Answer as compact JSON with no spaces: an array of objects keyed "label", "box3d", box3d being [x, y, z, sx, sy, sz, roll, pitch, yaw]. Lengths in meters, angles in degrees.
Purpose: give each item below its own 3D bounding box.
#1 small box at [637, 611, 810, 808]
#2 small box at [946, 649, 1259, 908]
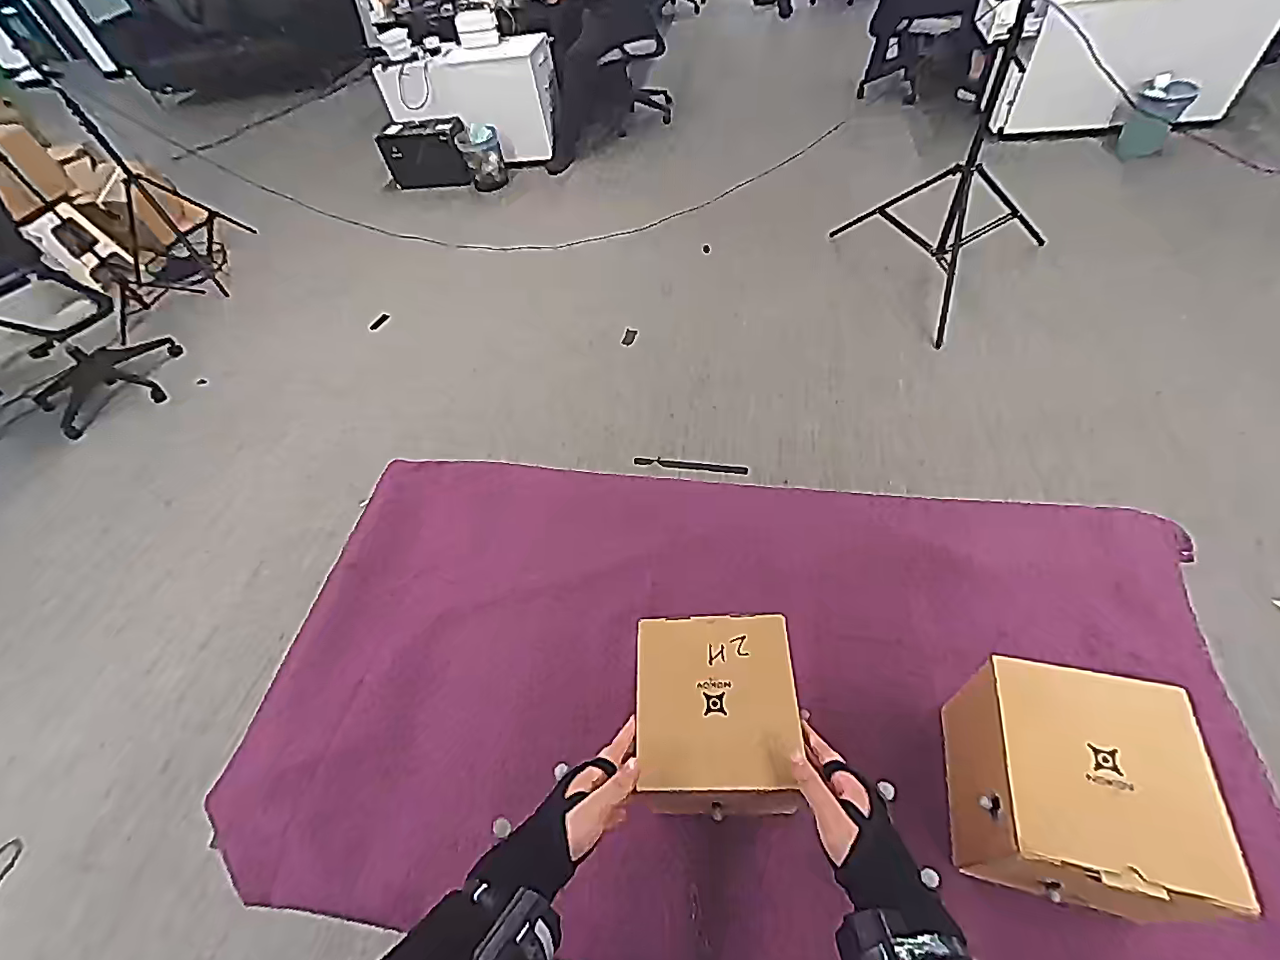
[{"label":"small box","box3d":[0.091,0.268,0.621,0.168,0.176,0.179,-4,52,6]},{"label":"small box","box3d":[0.426,0.299,0.544,0.168,0.176,0.179,7,53,14]}]
